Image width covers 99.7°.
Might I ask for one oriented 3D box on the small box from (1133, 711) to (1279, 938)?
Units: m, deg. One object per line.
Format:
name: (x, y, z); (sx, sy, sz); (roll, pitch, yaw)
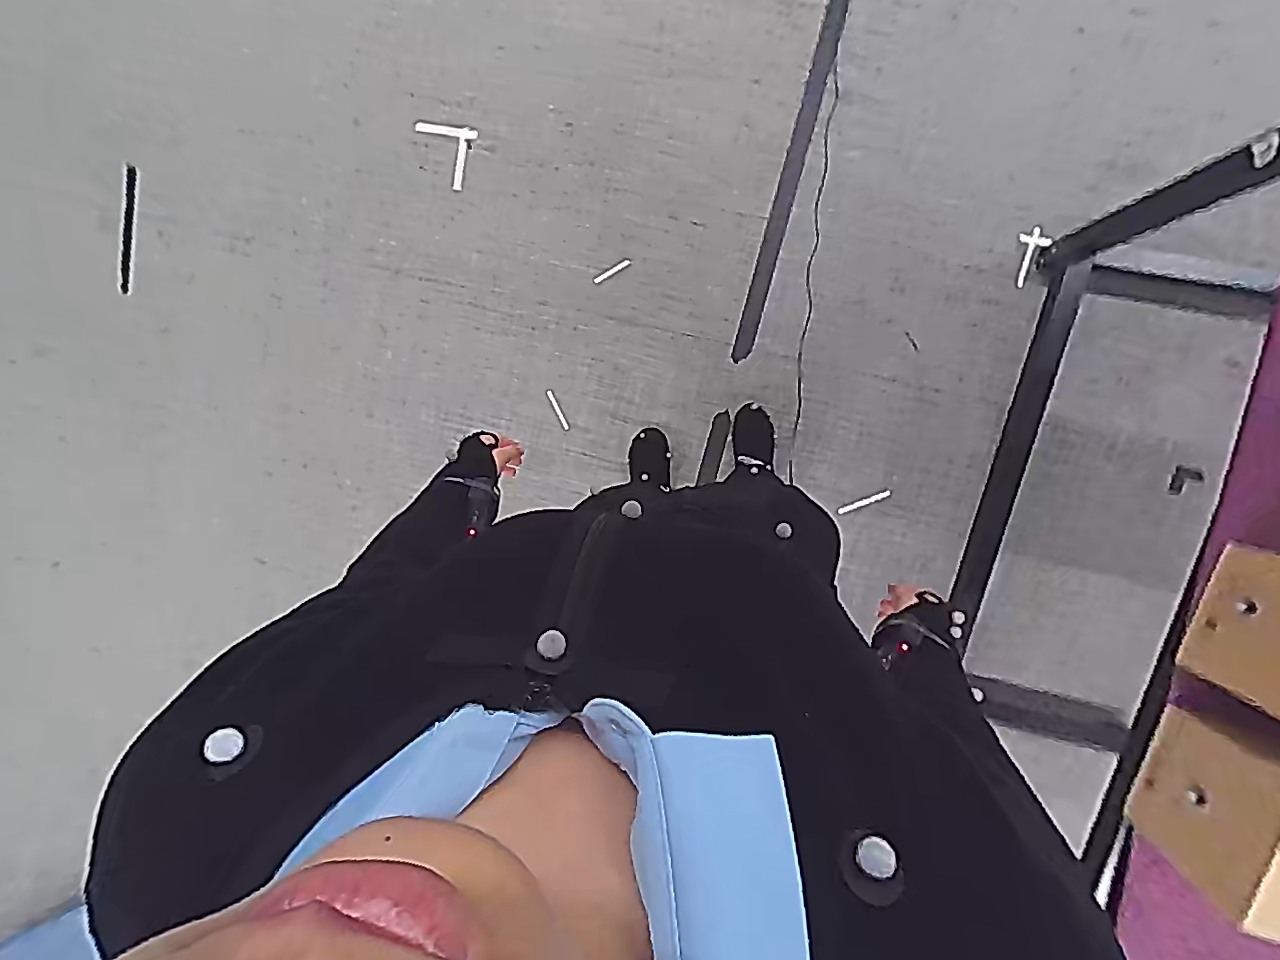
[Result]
small box: (0.734, 0.395, 0.618); (0.179, 0.176, 0.168); (14, 99, 5)
